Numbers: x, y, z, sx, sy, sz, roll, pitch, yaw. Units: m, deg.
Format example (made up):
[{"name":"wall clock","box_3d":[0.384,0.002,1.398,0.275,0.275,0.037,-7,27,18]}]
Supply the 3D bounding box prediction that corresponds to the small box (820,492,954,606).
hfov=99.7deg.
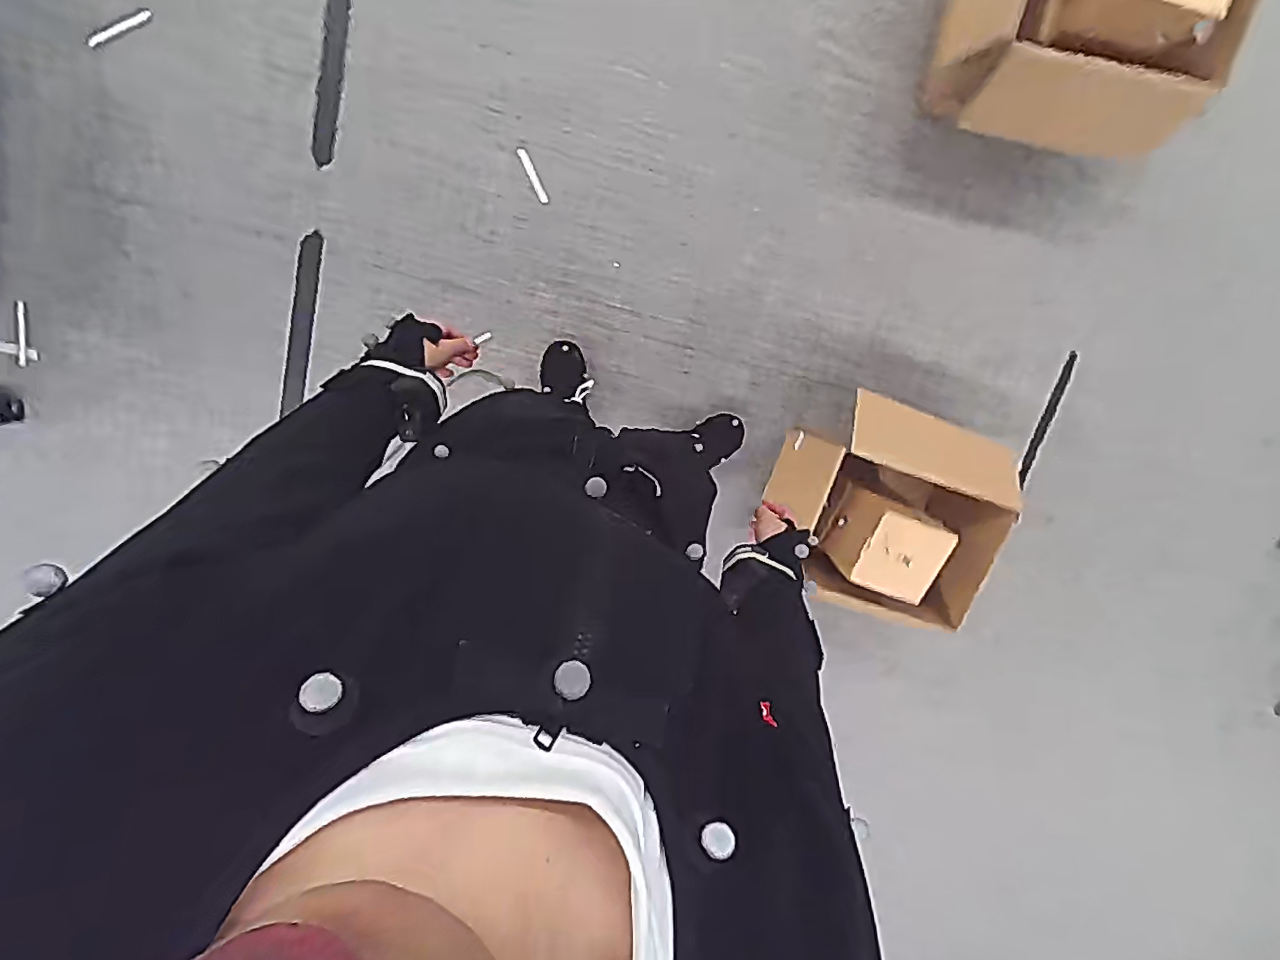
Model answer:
[{"name":"small box","box_3d":[0.530,0.143,1.187,0.179,0.176,0.168,21,106,-9]}]
